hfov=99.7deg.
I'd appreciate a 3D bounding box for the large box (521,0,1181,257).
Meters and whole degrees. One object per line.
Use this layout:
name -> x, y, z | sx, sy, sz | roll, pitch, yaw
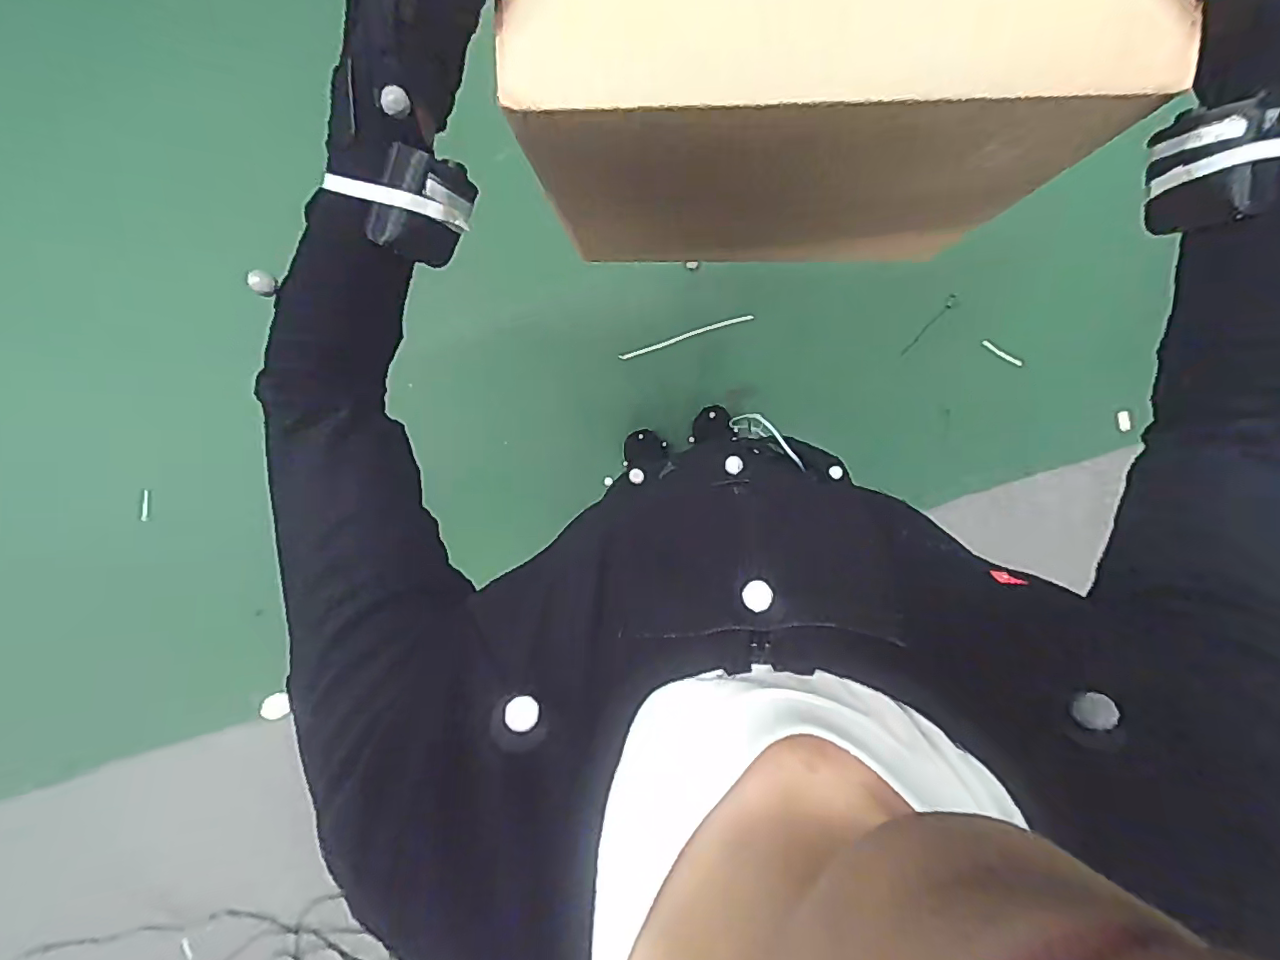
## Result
large box -> 0.127, -0.401, 0.468 | 0.408, 0.320, 0.320 | 1, 96, 2
